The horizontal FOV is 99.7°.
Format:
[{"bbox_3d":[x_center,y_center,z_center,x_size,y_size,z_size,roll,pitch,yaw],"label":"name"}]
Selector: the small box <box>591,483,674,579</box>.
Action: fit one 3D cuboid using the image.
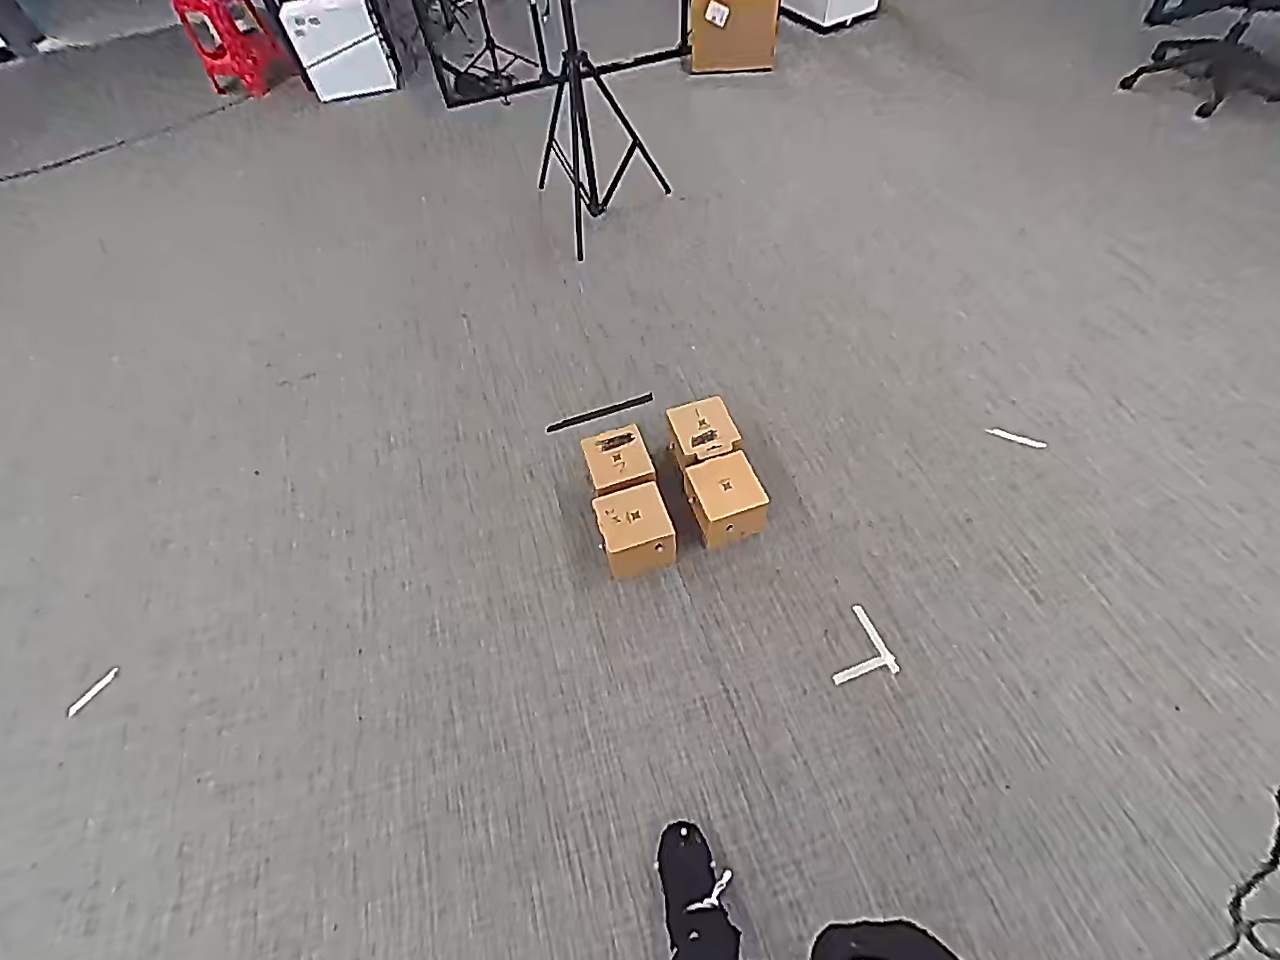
[{"bbox_3d":[-0.017,0.139,1.422,0.179,0.176,0.168,-17,58,-6],"label":"small box"}]
